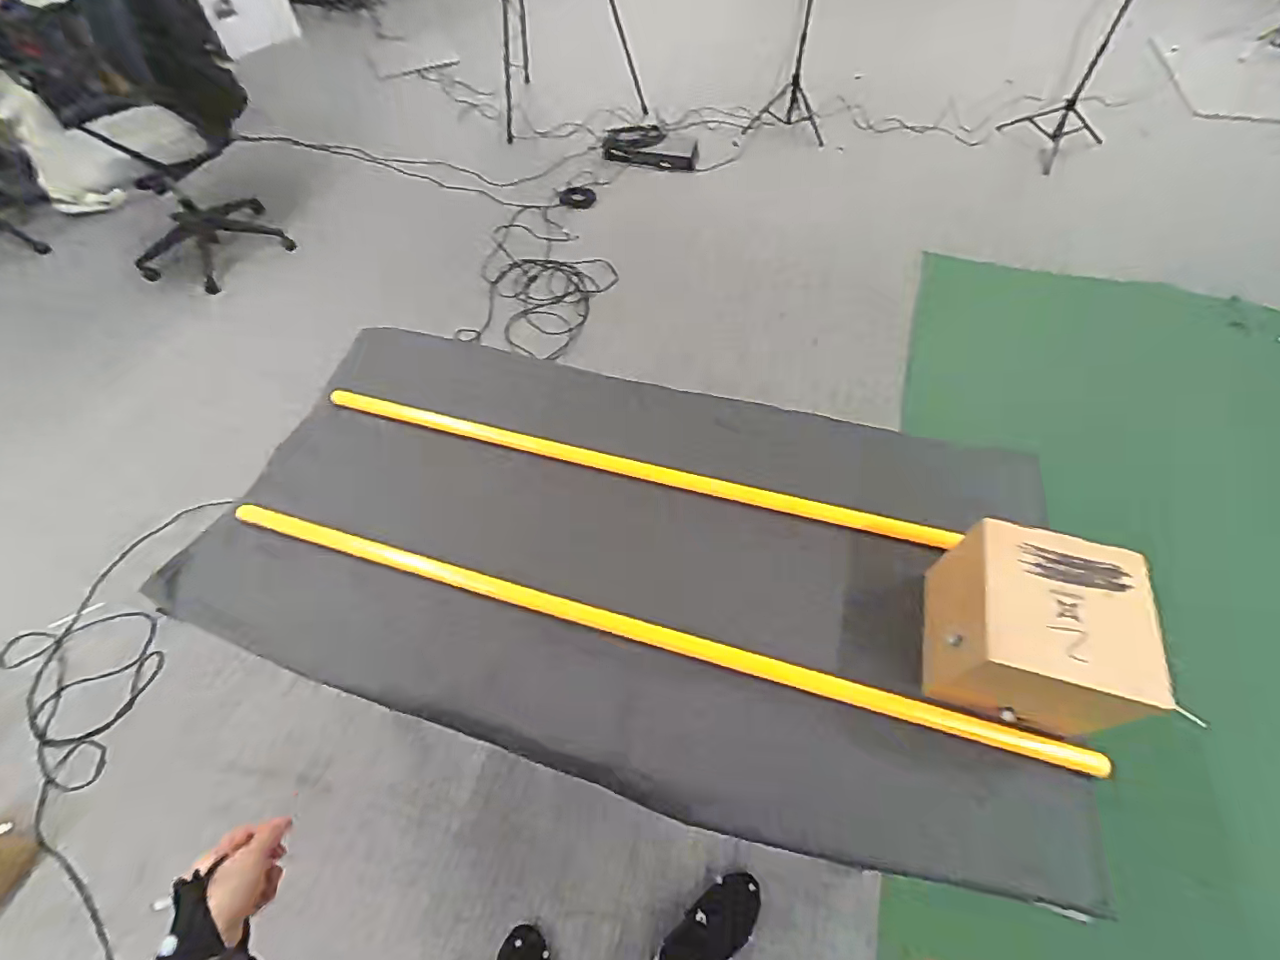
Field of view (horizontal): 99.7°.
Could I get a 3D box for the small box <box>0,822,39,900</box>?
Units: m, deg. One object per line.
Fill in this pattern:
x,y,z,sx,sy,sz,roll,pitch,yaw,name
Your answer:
-1.467,0.845,1.139,0.168,0.176,0.179,18,58,14,small box
